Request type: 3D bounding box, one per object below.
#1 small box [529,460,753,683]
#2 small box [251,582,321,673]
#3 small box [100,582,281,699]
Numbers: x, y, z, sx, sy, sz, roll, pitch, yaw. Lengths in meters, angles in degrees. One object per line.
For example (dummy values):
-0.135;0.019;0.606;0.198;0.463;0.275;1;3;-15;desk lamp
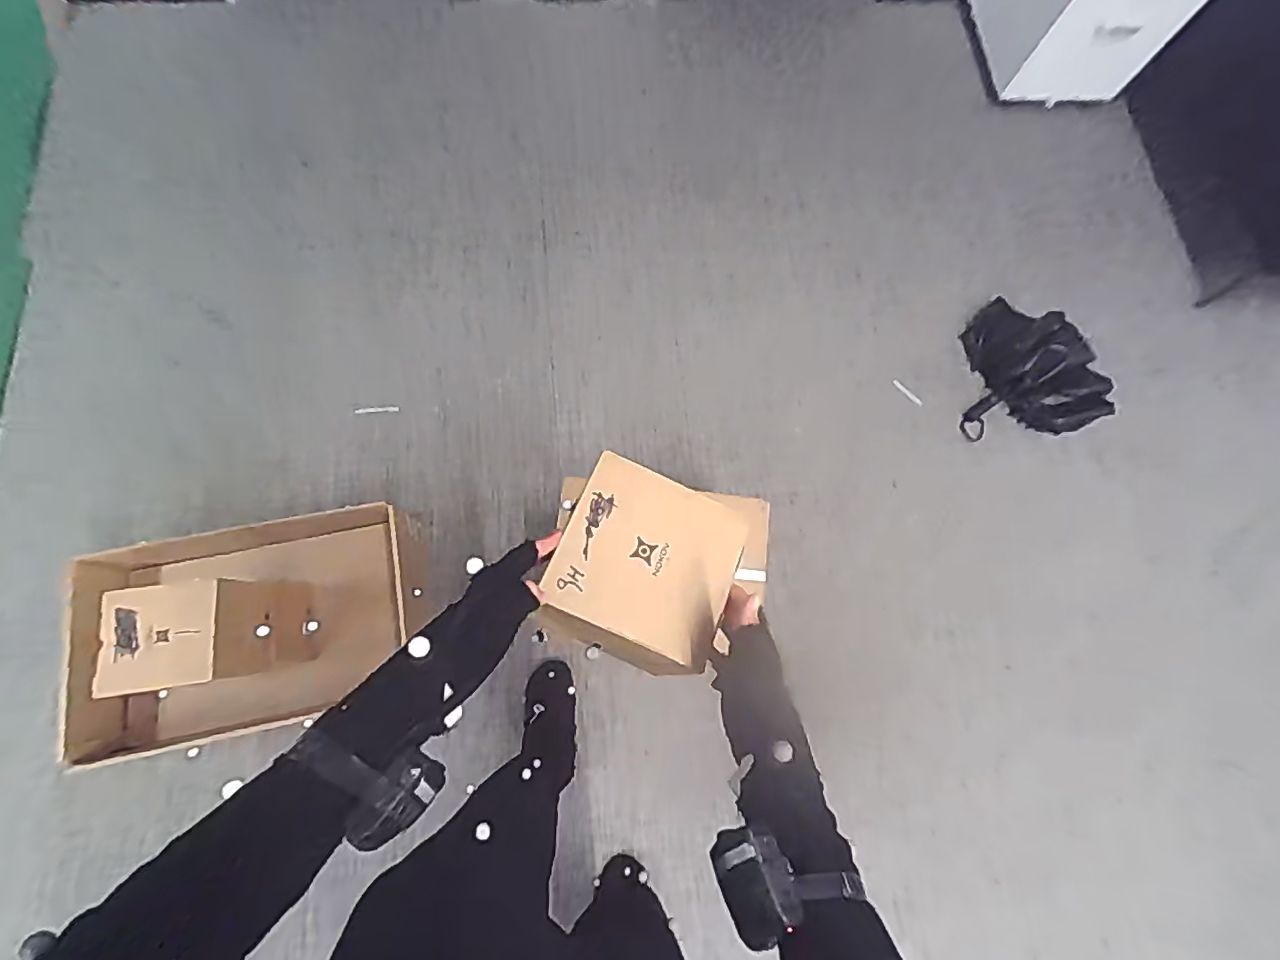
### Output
-0.007;0.108;0.598;0.179;0.176;0.168;26;66;-5;small box
-0.786;0.313;1.106;0.179;0.176;0.168;-9;75;-8;small box
-0.770;0.279;0.945;0.179;0.176;0.168;-6;75;-7;small box
